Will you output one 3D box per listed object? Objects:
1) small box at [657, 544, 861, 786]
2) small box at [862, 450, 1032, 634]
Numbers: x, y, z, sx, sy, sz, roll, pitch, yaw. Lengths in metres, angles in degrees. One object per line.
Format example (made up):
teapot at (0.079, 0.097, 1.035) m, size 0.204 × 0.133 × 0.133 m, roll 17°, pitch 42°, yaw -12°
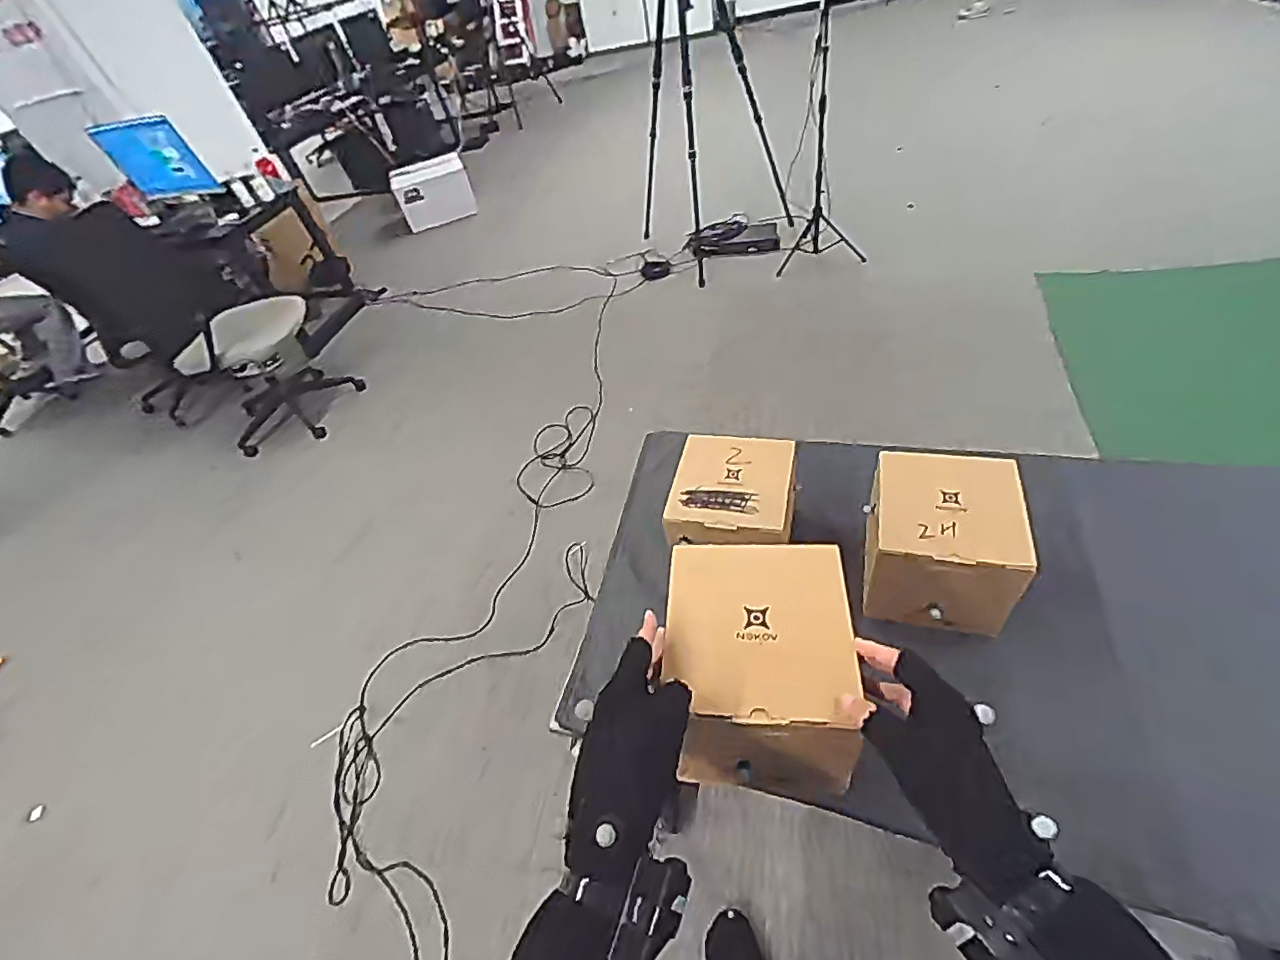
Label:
small box at (0.114, 0.184, 0.549) m, size 0.168 × 0.176 × 0.179 m, roll -1°, pitch 47°, yaw 11°
small box at (0.403, 0.083, 0.742) m, size 0.168 × 0.176 × 0.179 m, roll 6°, pitch 50°, yaw 19°
